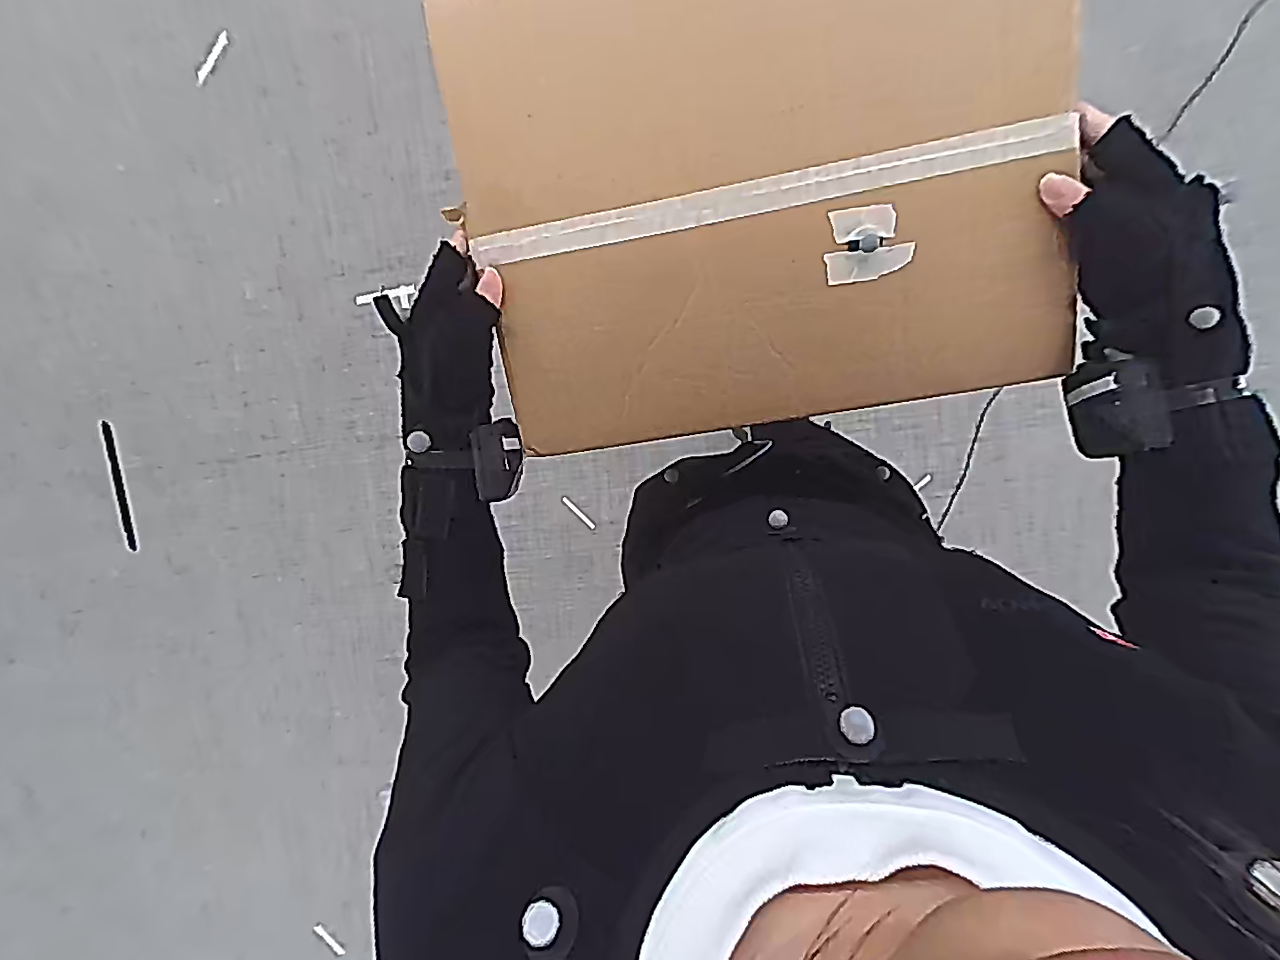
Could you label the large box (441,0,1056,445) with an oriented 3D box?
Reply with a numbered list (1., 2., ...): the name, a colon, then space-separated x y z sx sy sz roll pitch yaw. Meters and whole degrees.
1. large box: 0.090 -0.241 0.528 0.408 0.320 0.320 -9 104 5
